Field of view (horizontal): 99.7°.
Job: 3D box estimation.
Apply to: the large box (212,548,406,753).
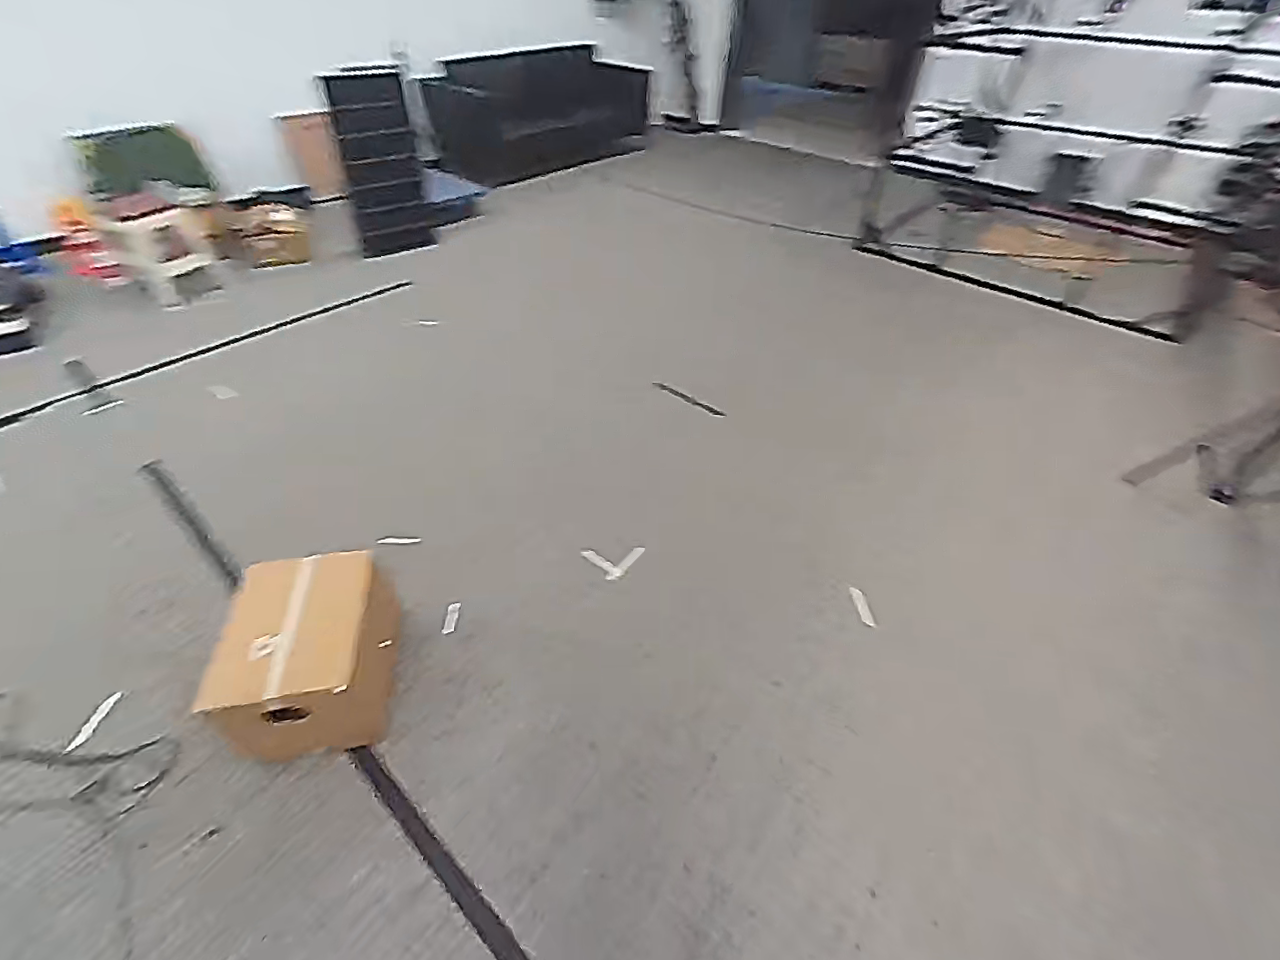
[{"bbox_3d":[-0.834,0.445,1.441,0.320,0.320,0.408,-6,45,-9],"label":"large box"}]
